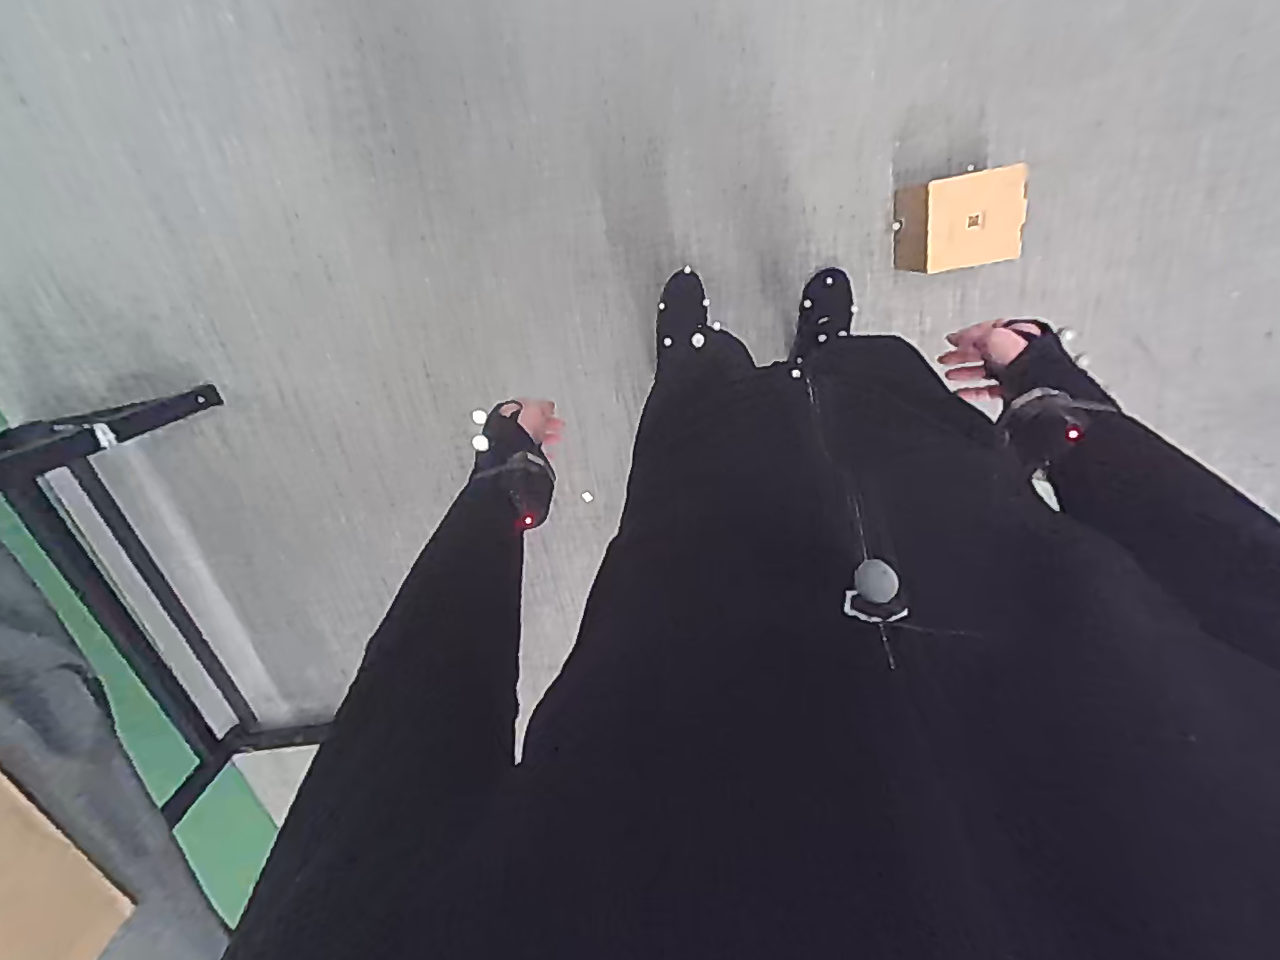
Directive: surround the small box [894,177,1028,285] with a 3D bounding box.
[{"bbox_3d":[0.638,-0.501,1.096,0.179,0.176,0.168,-8,112,7],"label":"small box"}]
